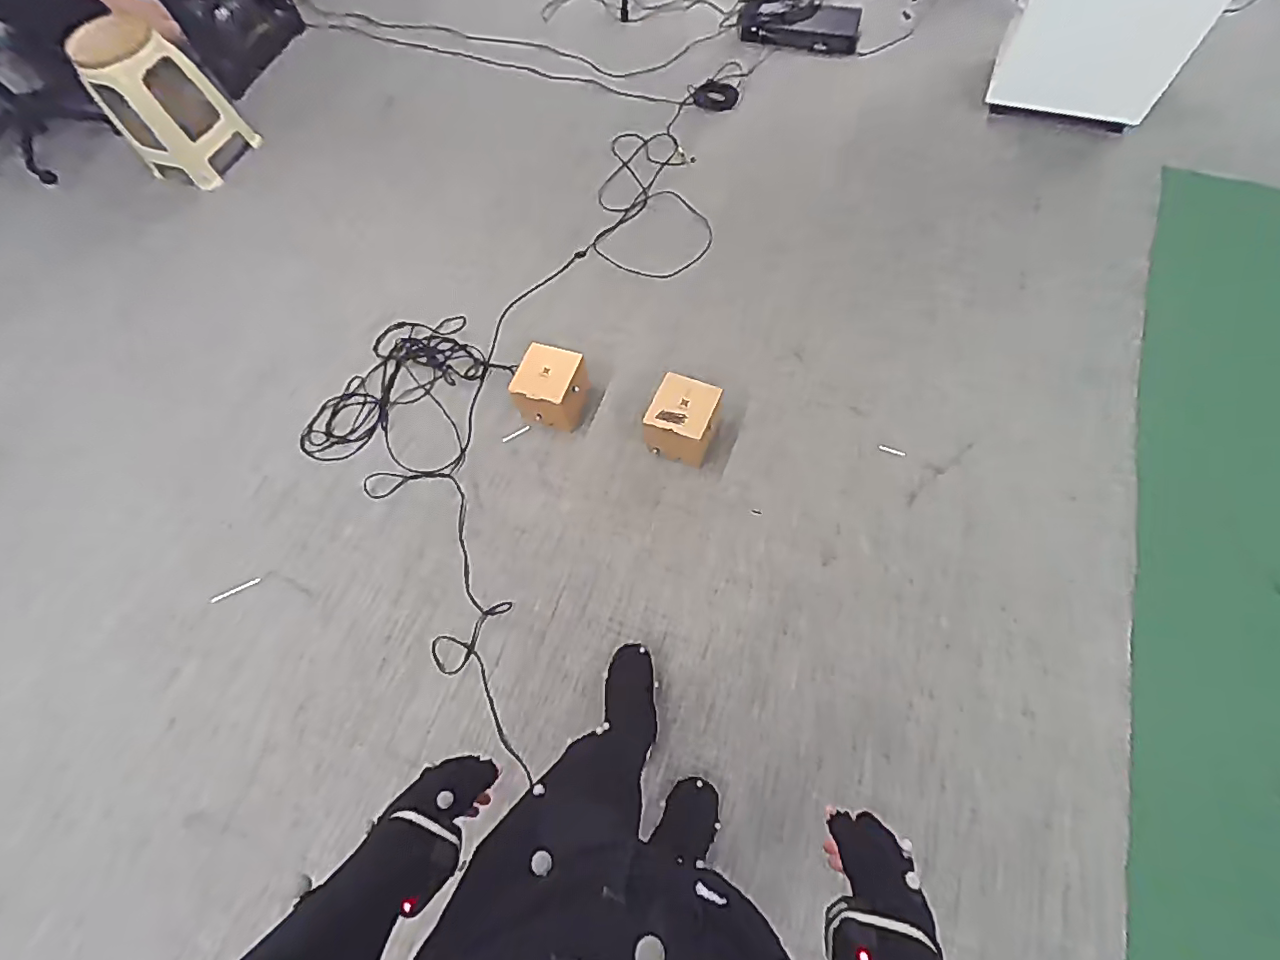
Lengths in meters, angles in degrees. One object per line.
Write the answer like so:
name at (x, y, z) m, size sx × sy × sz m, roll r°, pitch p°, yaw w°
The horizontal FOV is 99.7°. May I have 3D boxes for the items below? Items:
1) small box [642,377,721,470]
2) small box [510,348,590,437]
small box at (0.122, -0.153, 1.523) m, size 0.168 × 0.176 × 0.179 m, roll 21°, pitch 69°, yaw 14°
small box at (-0.258, -0.257, 1.610) m, size 0.168 × 0.176 × 0.179 m, roll 16°, pitch 69°, yaw 13°
